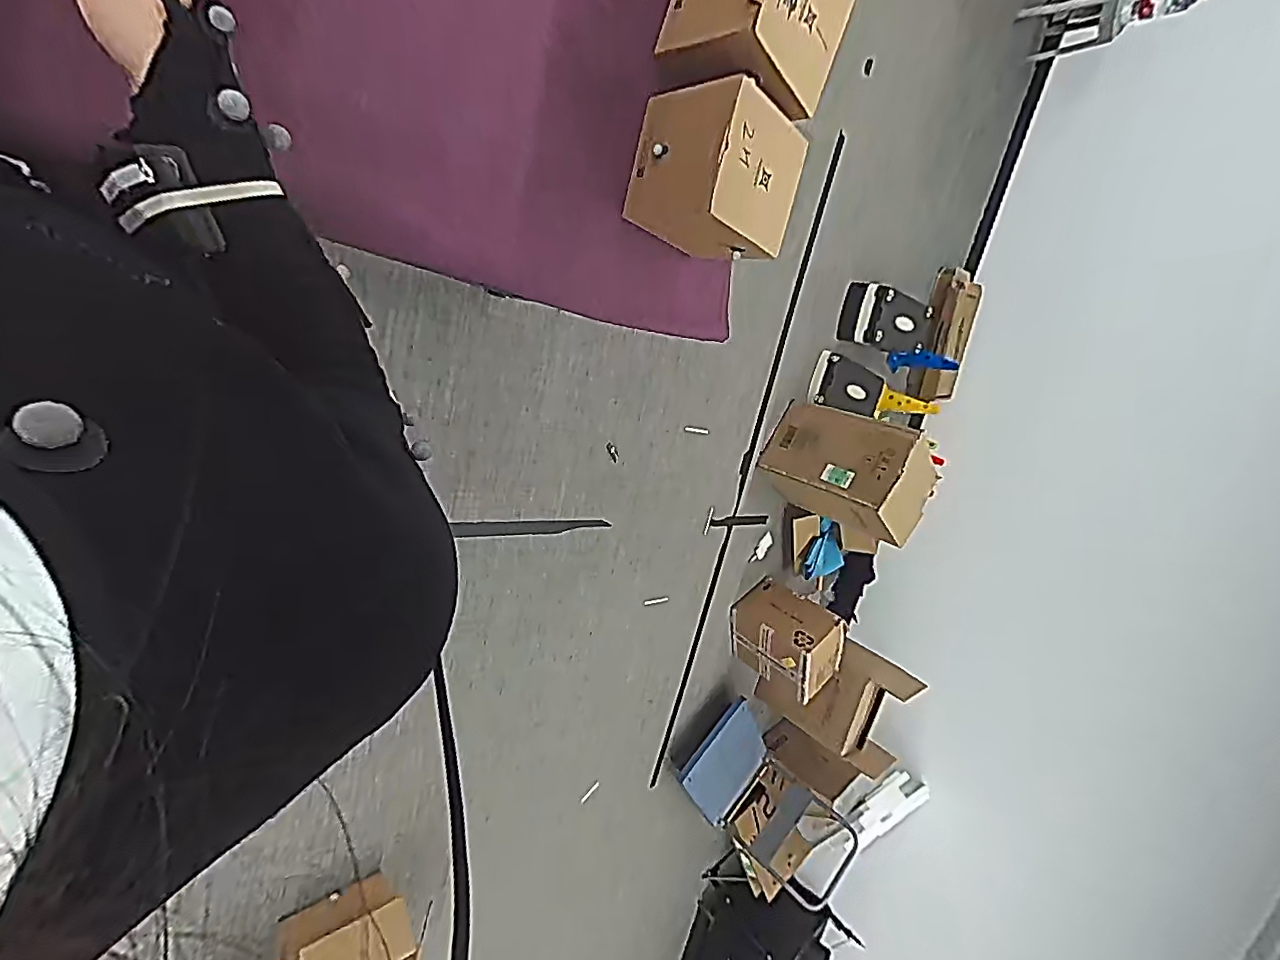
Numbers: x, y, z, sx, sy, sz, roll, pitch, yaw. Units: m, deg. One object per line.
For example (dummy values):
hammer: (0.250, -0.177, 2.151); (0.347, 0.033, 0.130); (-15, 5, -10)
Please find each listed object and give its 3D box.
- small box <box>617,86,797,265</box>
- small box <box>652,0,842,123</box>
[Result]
small box: (0.096, -0.430, 0.794); (0.179, 0.176, 0.168); (5, 103, -46)
small box: (0.145, -0.621, 0.754); (0.179, 0.176, 0.168); (10, 102, -49)
